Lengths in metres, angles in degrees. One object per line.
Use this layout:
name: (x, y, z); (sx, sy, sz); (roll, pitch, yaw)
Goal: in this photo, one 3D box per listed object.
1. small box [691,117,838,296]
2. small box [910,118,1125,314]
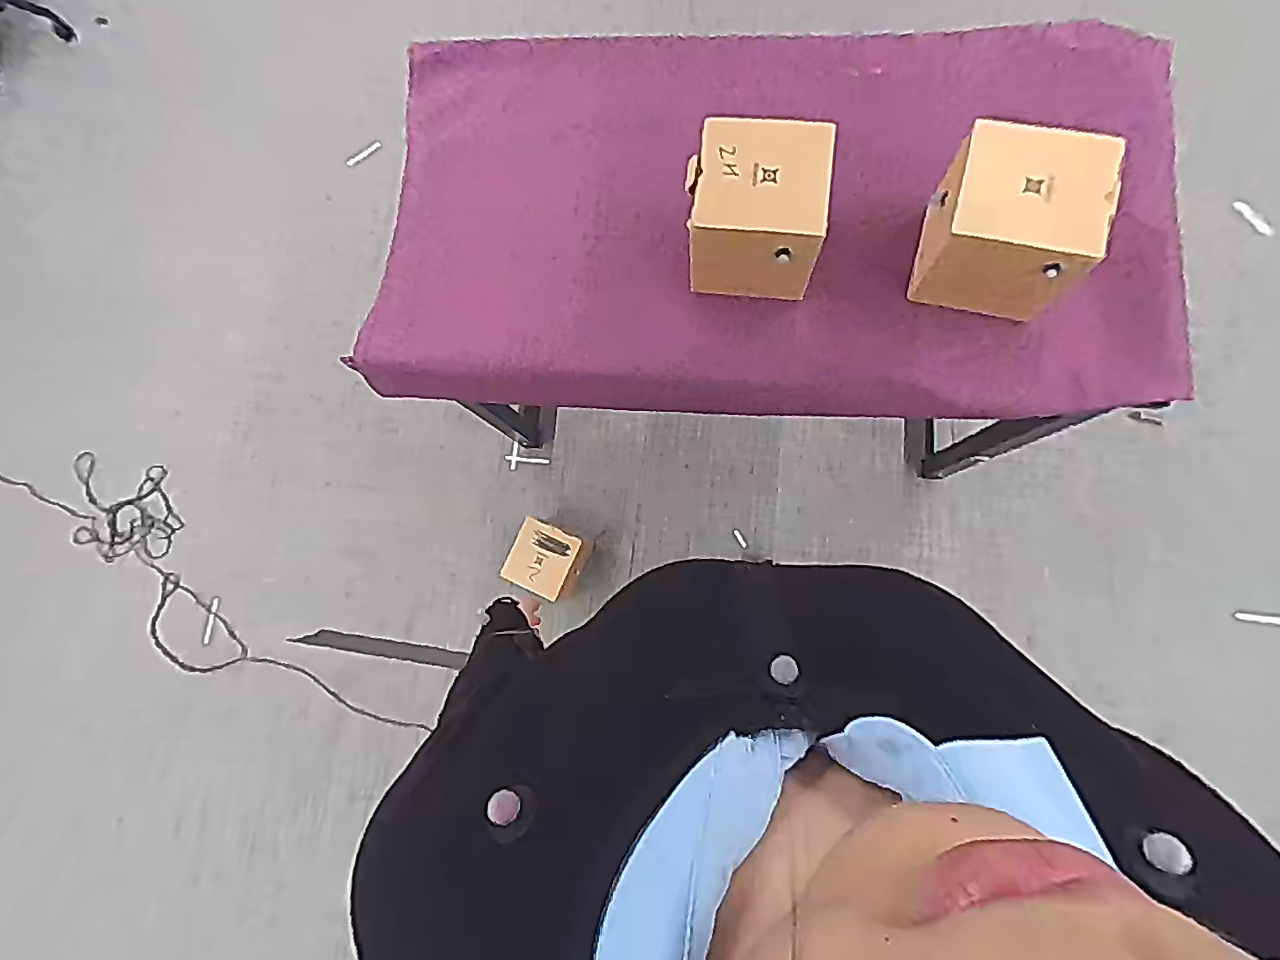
small box: (0.172, -0.385, 0.785); (0.179, 0.176, 0.168); (7, 80, 8)
small box: (0.497, -0.348, 0.739); (0.179, 0.176, 0.168); (14, 82, 9)
